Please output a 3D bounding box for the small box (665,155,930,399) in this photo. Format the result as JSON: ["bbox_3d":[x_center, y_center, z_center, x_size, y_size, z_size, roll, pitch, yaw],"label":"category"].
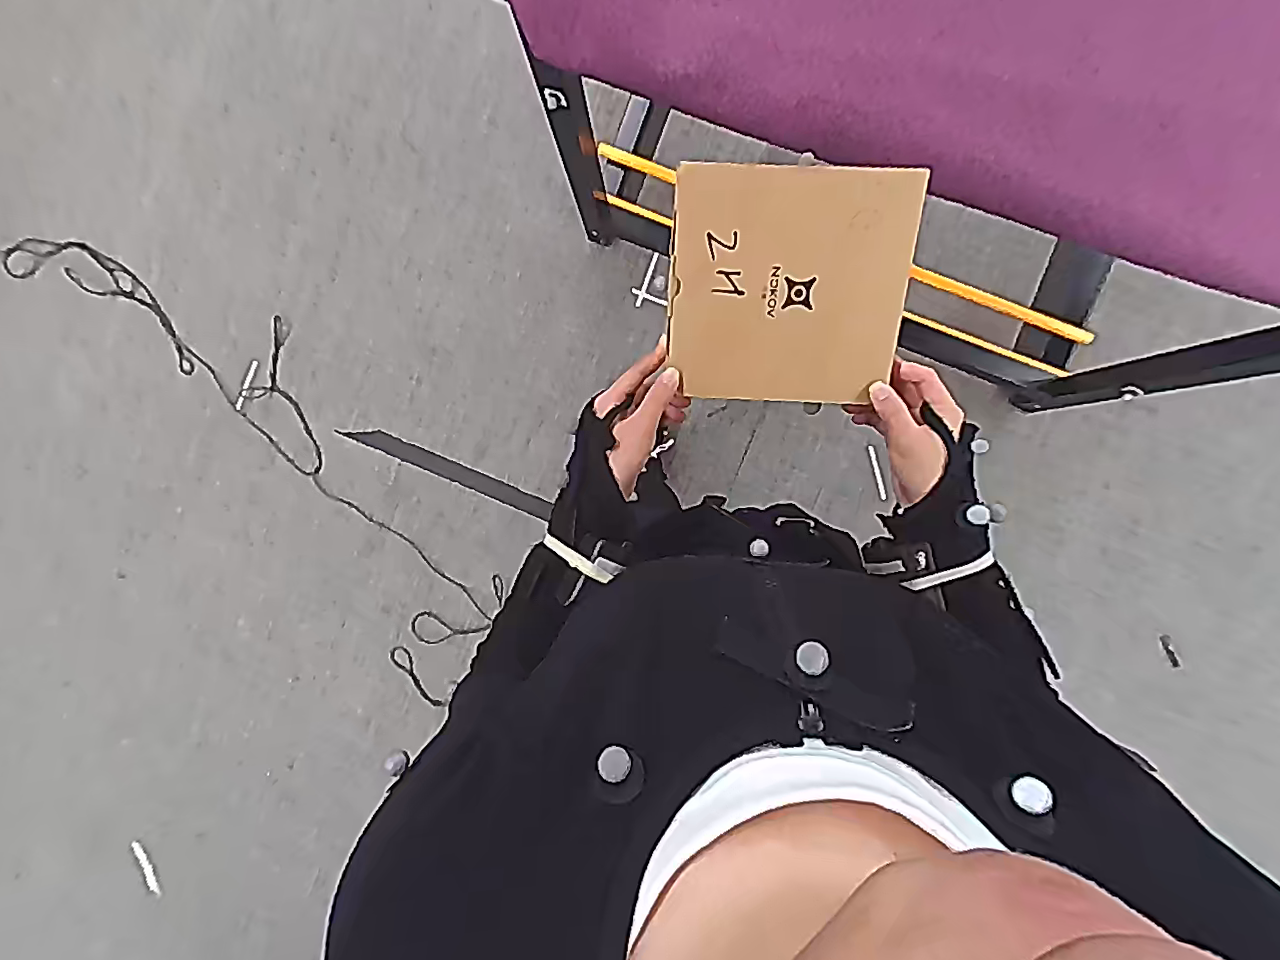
[{"bbox_3d":[0.115,-0.173,0.478,0.179,0.176,0.168,4,110,3],"label":"small box"}]
